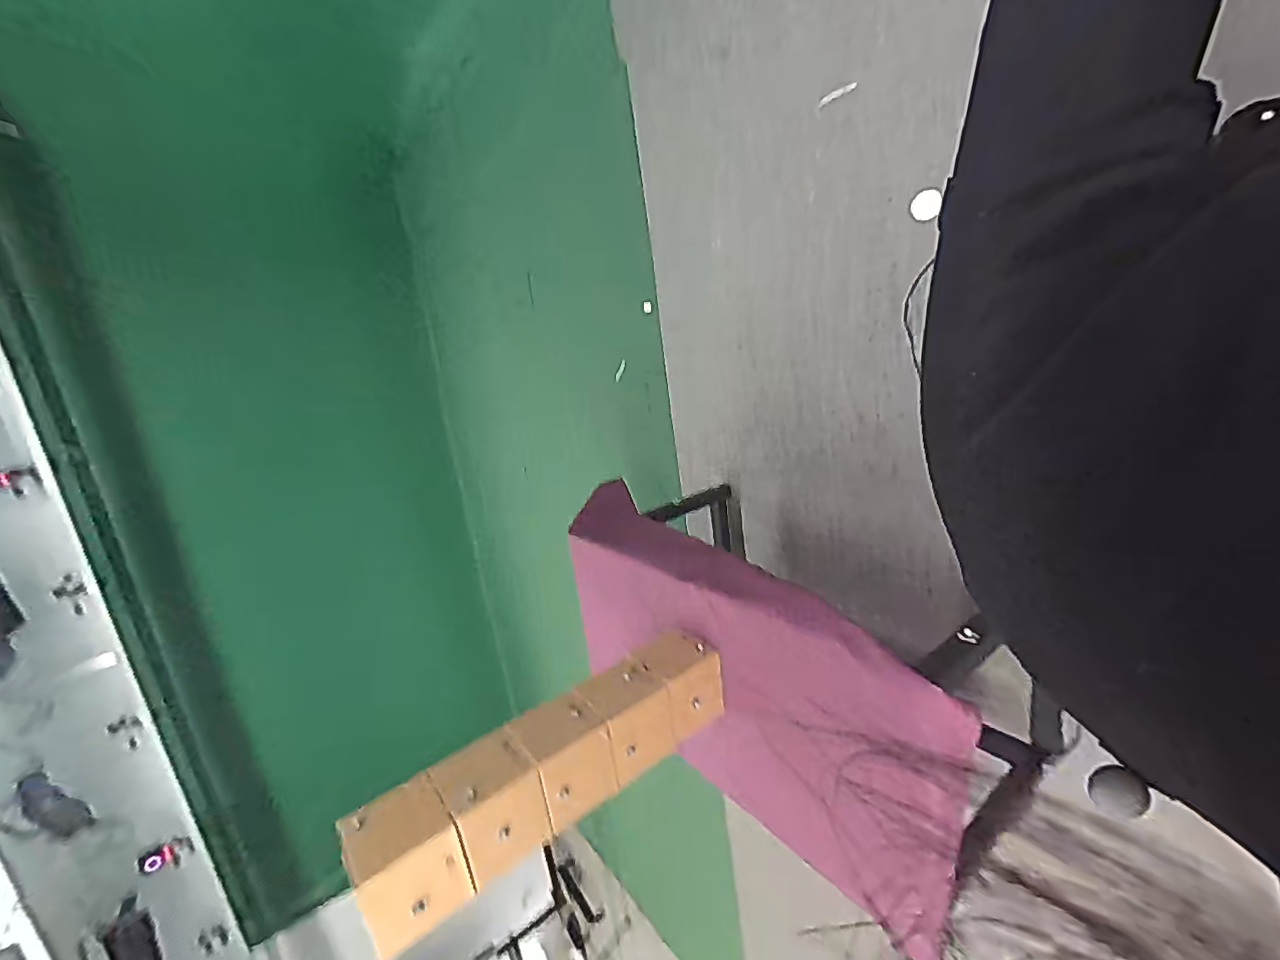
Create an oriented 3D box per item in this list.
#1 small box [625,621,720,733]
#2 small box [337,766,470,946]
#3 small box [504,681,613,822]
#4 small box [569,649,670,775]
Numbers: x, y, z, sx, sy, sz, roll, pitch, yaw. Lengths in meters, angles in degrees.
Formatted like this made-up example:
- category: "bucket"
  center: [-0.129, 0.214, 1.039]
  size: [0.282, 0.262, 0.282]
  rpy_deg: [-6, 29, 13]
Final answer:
- category: "small box"
  center: [0.084, 0.482, 1.352]
  size: [0.168, 0.176, 0.179]
  rpy_deg: [15, 117, 51]
- category: "small box"
  center: [-0.426, 0.668, 0.989]
  size: [0.179, 0.176, 0.168]
  rpy_deg: [13, 116, 52]
- category: "small box"
  center: [-0.172, 0.577, 1.172]
  size: [0.168, 0.176, 0.179]
  rpy_deg: [13, 115, 51]
- category: "small box"
  center: [-0.043, 0.531, 1.261]
  size: [0.168, 0.176, 0.179]
  rpy_deg: [14, 115, 51]
